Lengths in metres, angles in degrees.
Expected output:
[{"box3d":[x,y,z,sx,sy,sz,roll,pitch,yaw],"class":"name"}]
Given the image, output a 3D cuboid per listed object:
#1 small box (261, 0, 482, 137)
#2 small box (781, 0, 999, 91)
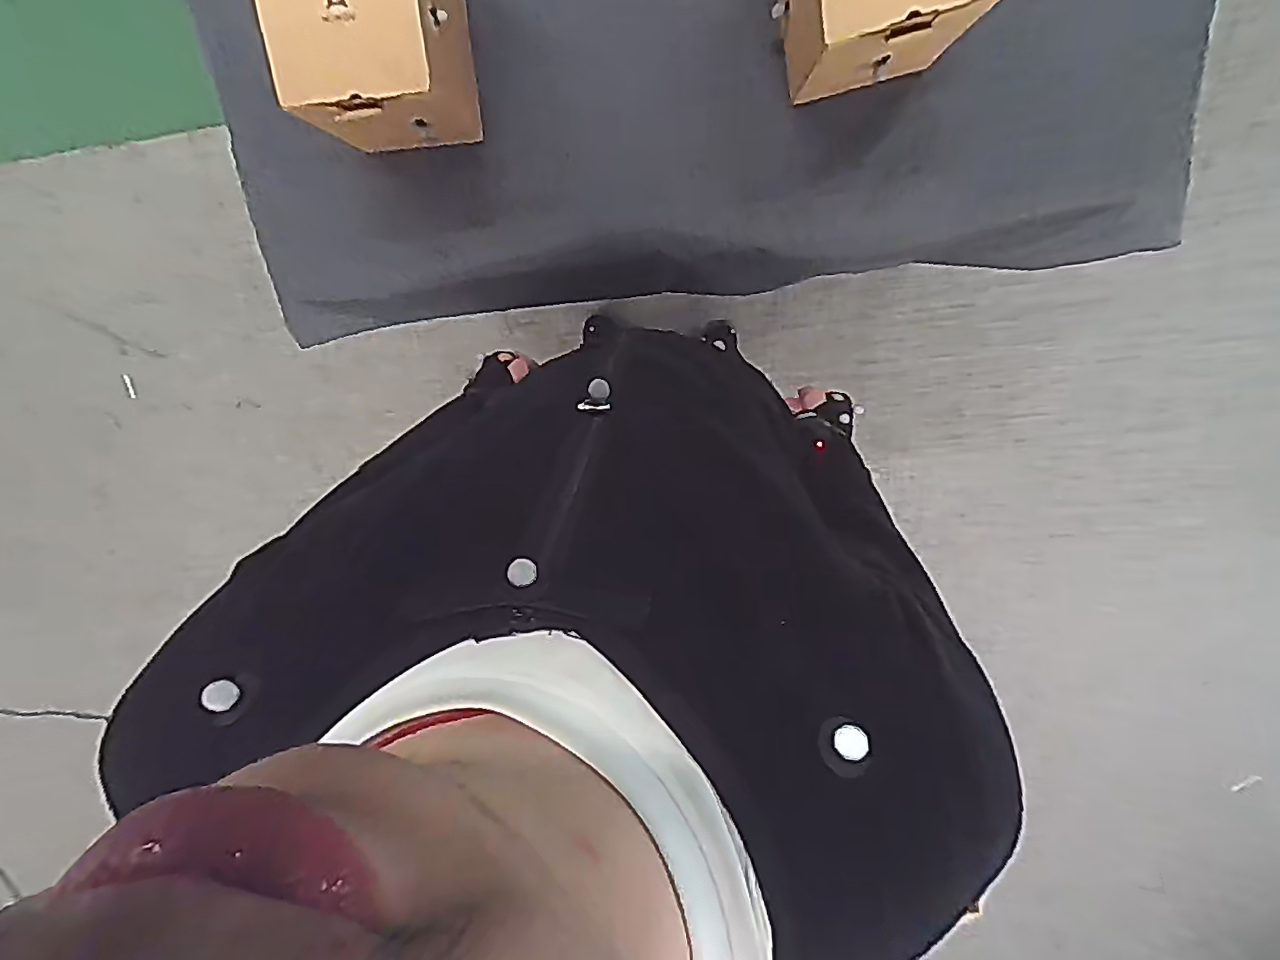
[{"box3d":[-0.289,-0.505,0.604,0.168,0.176,0.179,-3,107,3],"class":"small box"},{"box3d":[0.246,-0.538,0.560,0.168,0.176,0.179,-11,108,7],"class":"small box"}]
